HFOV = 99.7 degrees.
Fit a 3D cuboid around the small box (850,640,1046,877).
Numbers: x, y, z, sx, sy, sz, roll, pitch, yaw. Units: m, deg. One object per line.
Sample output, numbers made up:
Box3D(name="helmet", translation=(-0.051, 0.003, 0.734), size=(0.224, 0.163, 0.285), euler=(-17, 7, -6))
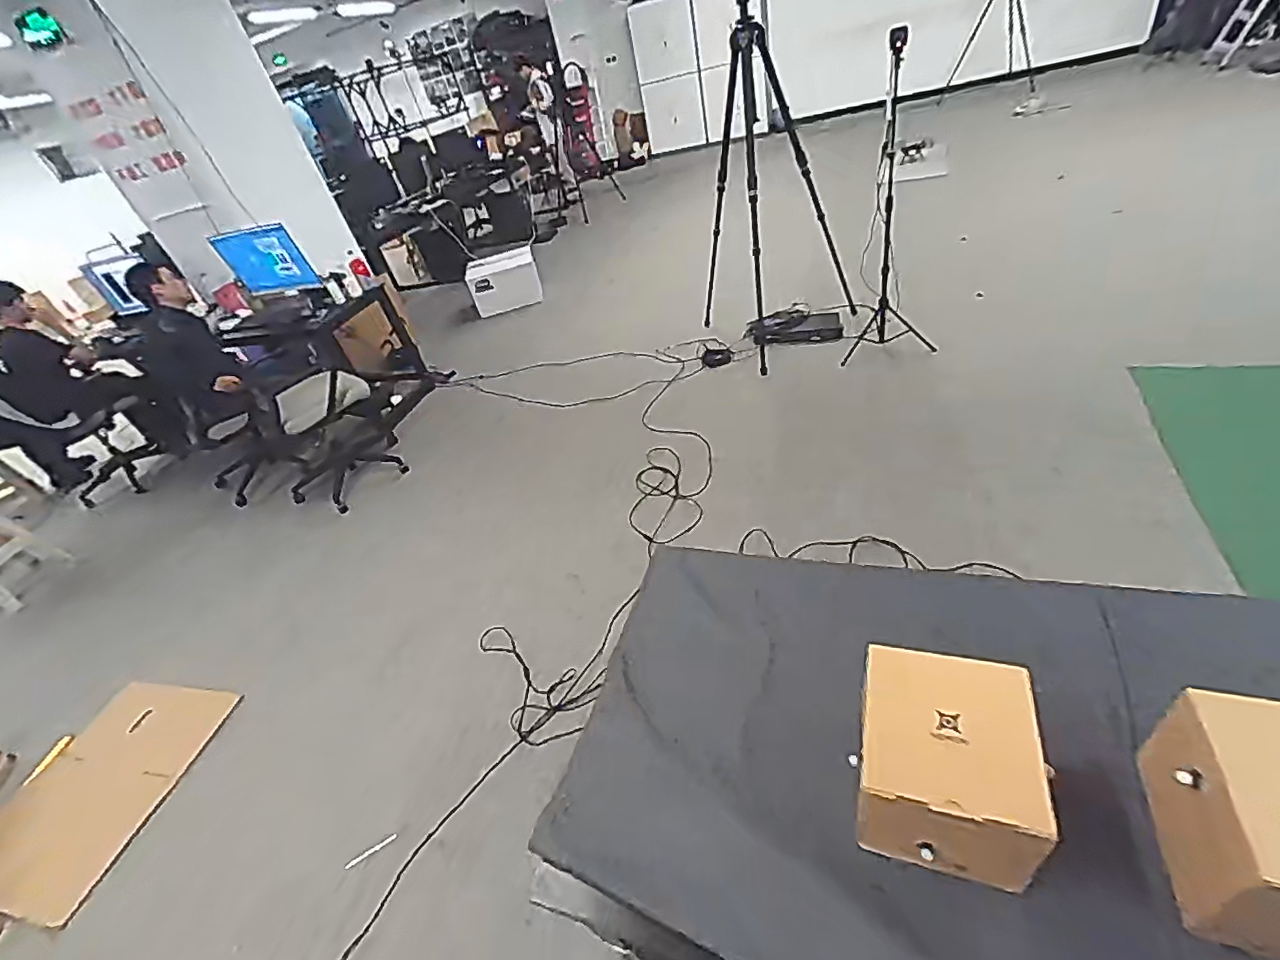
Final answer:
Box3D(name="small box", translation=(0.342, 0.321, 0.635), size=(0.168, 0.176, 0.179), euler=(4, 43, 22))
